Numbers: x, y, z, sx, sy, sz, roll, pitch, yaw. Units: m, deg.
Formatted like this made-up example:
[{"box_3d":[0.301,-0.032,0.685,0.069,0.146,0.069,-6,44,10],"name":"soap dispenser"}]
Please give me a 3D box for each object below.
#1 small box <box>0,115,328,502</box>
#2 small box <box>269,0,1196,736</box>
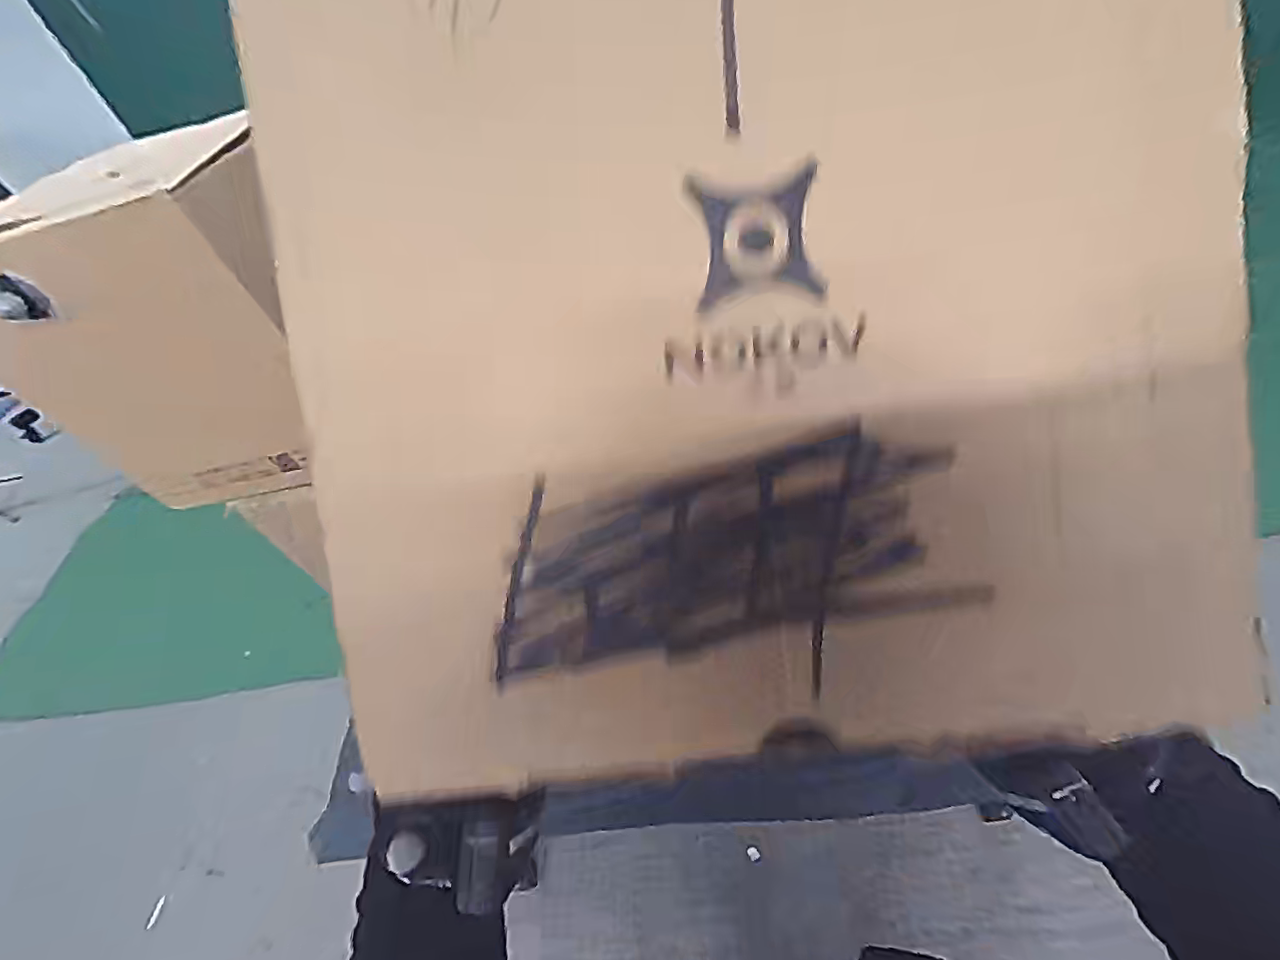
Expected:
[{"box_3d":[-0.248,-0.111,0.353,0.168,0.176,0.179,-11,45,10],"name":"small box"},{"box_3d":[0.020,-0.045,0.182,0.168,0.179,0.176,-6,3,1],"name":"small box"}]
